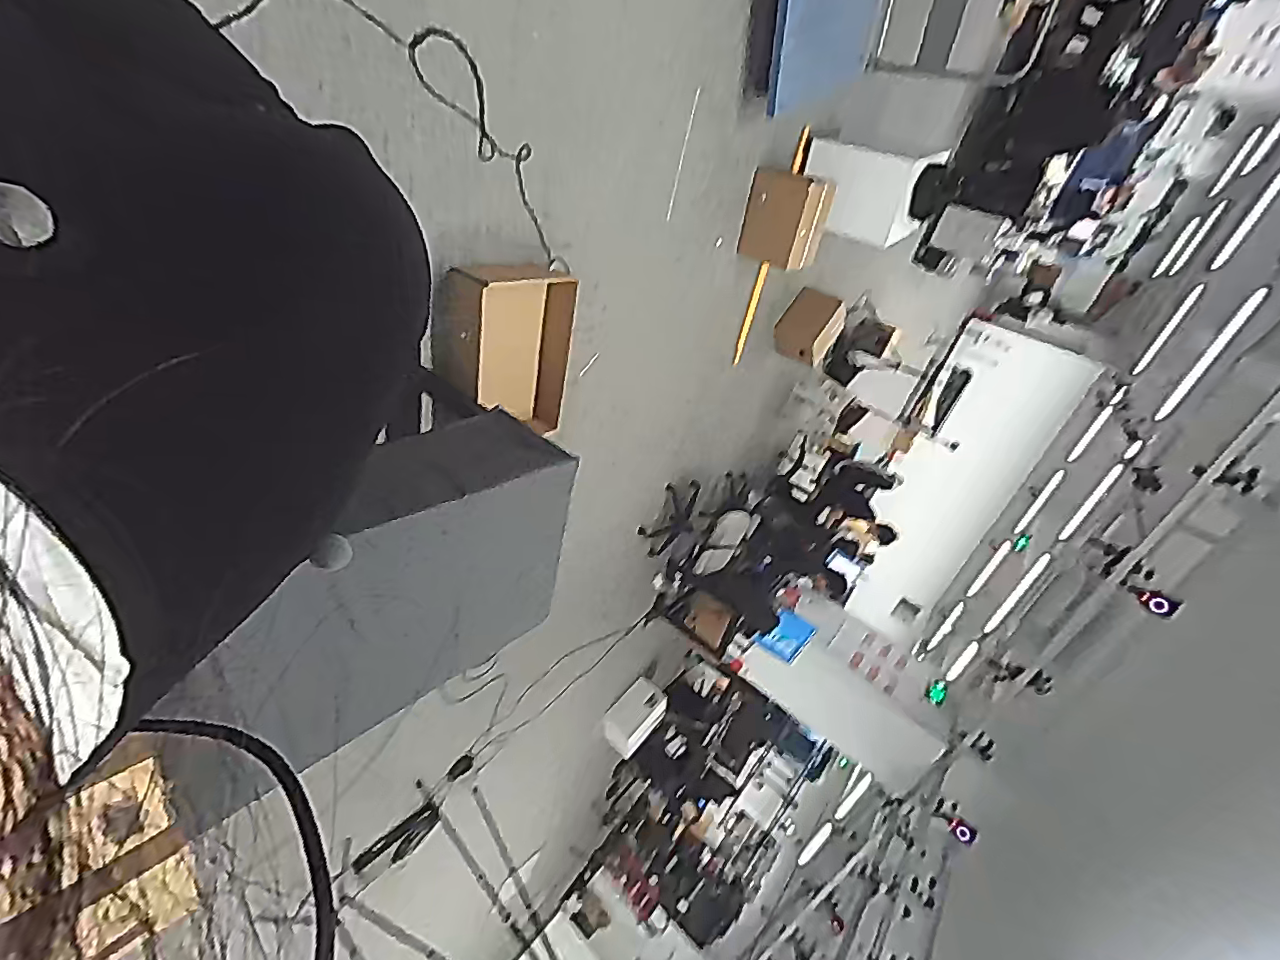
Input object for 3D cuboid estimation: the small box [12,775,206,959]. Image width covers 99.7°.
[{"bbox_3d":[-0.798,0.599,0.822,0.168,0.176,0.179,-22,136,-50],"label":"small box"}]
